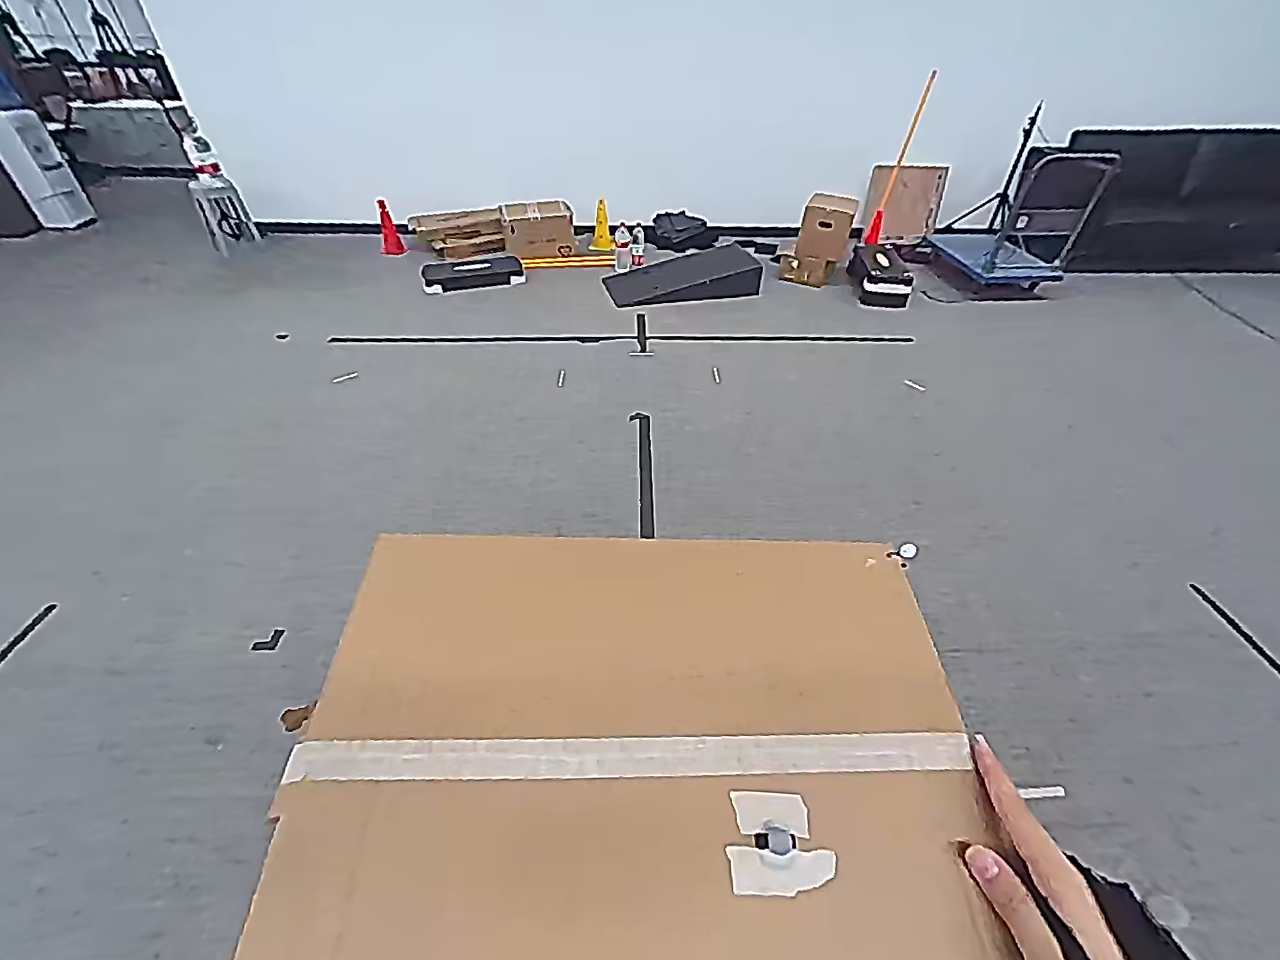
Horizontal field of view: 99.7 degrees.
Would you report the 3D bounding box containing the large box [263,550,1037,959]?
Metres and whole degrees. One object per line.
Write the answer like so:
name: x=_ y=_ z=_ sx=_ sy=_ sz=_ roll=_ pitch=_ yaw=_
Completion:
large box: x=-0.003 y=0.271 z=0.447 sx=0.408 sy=0.320 sz=0.320 roll=2 pitch=51 yaw=-4
